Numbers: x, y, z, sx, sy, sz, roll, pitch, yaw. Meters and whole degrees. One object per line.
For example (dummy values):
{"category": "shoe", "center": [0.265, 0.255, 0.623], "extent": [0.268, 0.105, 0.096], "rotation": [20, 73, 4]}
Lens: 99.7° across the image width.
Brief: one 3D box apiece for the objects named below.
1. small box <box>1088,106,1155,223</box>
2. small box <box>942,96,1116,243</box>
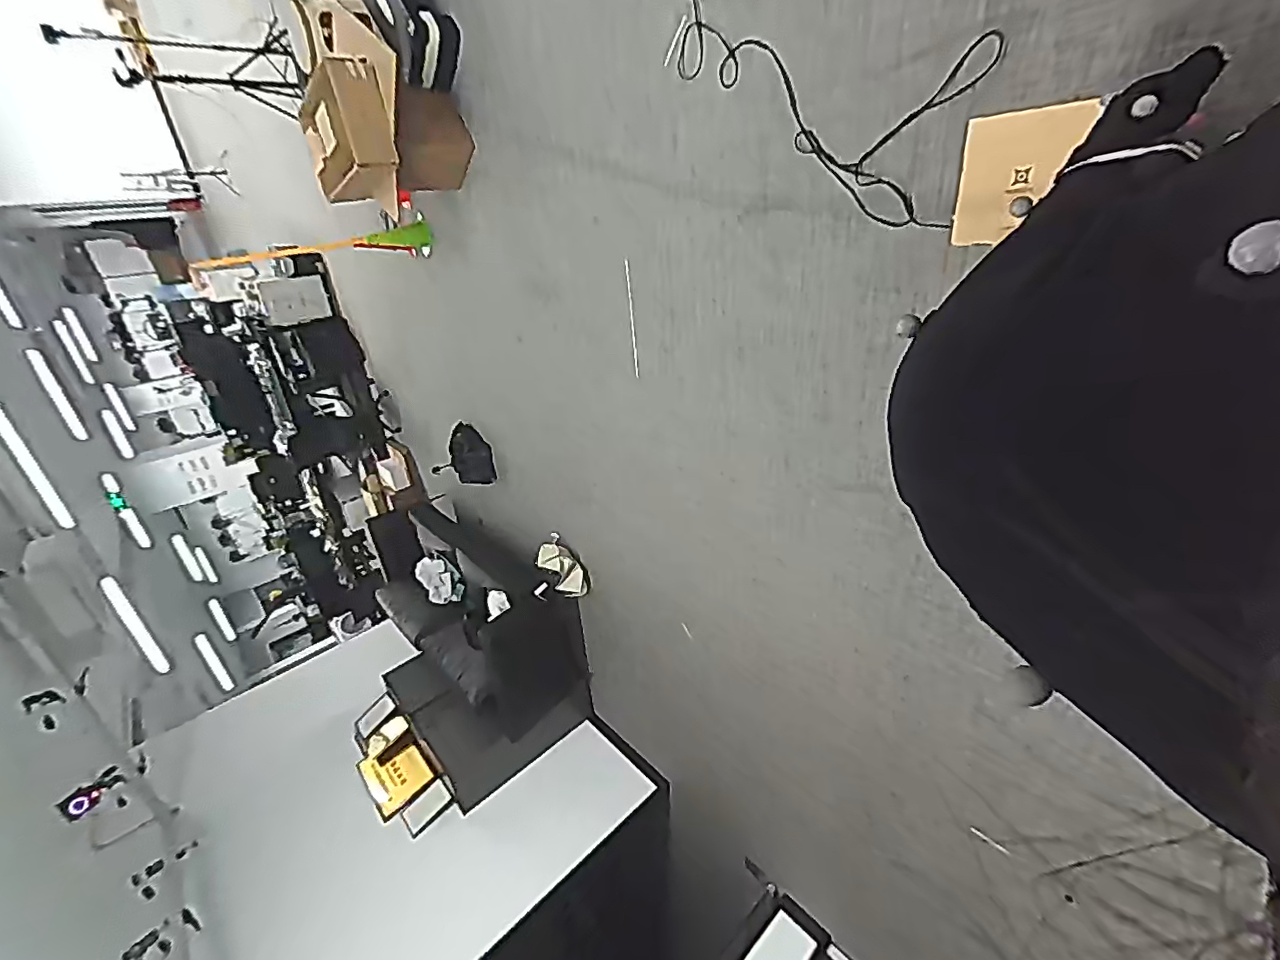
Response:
{"category": "small box", "center": [0.835, -0.594, 1.027], "extent": [0.168, 0.176, 0.179], "rotation": [26, 131, 41]}
{"category": "small box", "center": [0.598, -0.472, 0.834], "extent": [0.168, 0.176, 0.179], "rotation": [23, 130, 42]}
